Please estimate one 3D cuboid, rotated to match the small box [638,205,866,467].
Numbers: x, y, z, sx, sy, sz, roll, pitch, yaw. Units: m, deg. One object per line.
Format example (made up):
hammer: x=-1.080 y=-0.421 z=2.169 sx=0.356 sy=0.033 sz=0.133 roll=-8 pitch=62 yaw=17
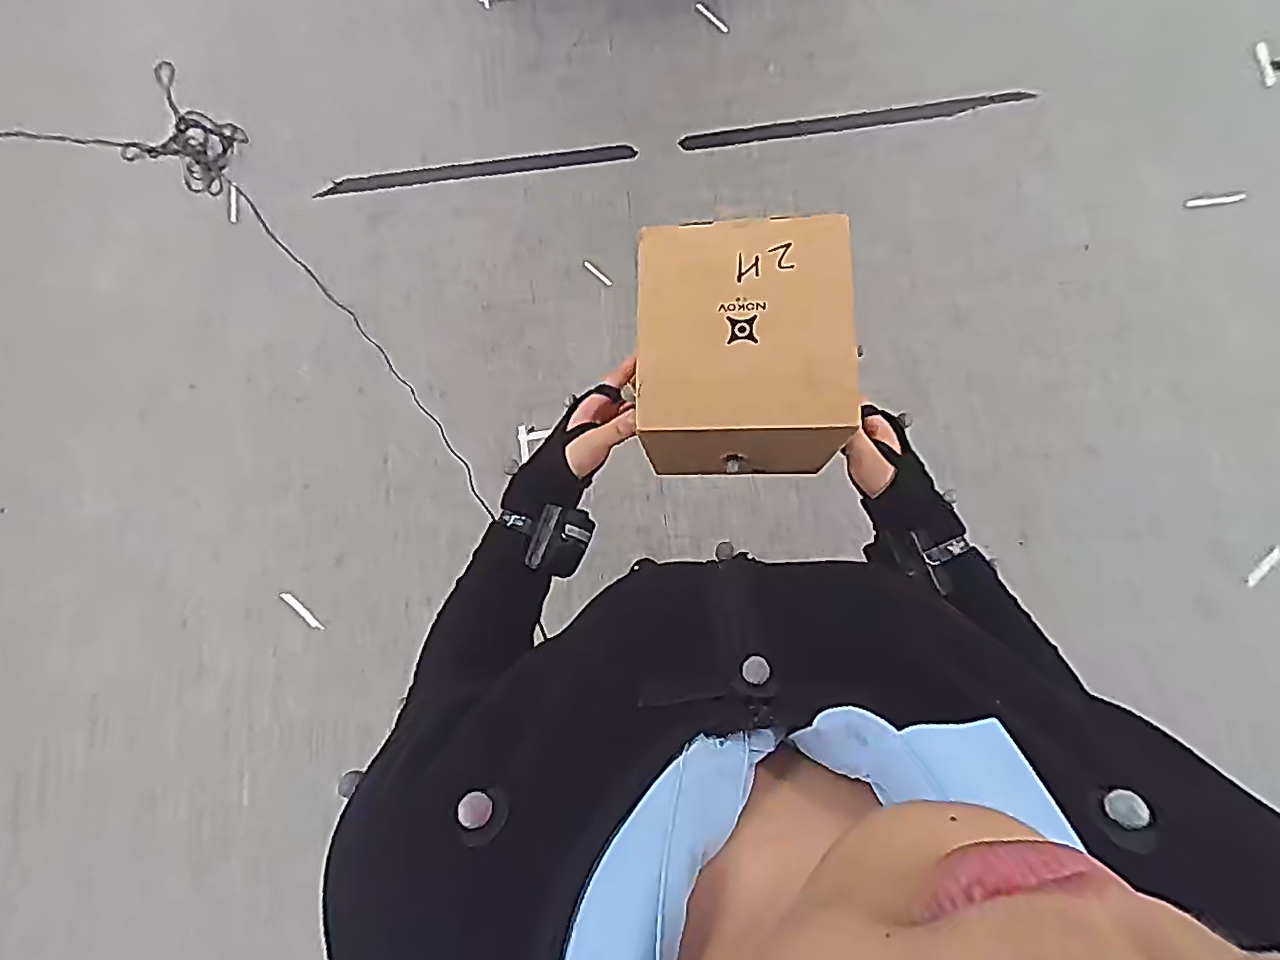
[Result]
small box: x=0.093 y=-0.110 z=0.483 sx=0.168 sy=0.176 sz=0.179 roll=0 pitch=78 yaw=7
